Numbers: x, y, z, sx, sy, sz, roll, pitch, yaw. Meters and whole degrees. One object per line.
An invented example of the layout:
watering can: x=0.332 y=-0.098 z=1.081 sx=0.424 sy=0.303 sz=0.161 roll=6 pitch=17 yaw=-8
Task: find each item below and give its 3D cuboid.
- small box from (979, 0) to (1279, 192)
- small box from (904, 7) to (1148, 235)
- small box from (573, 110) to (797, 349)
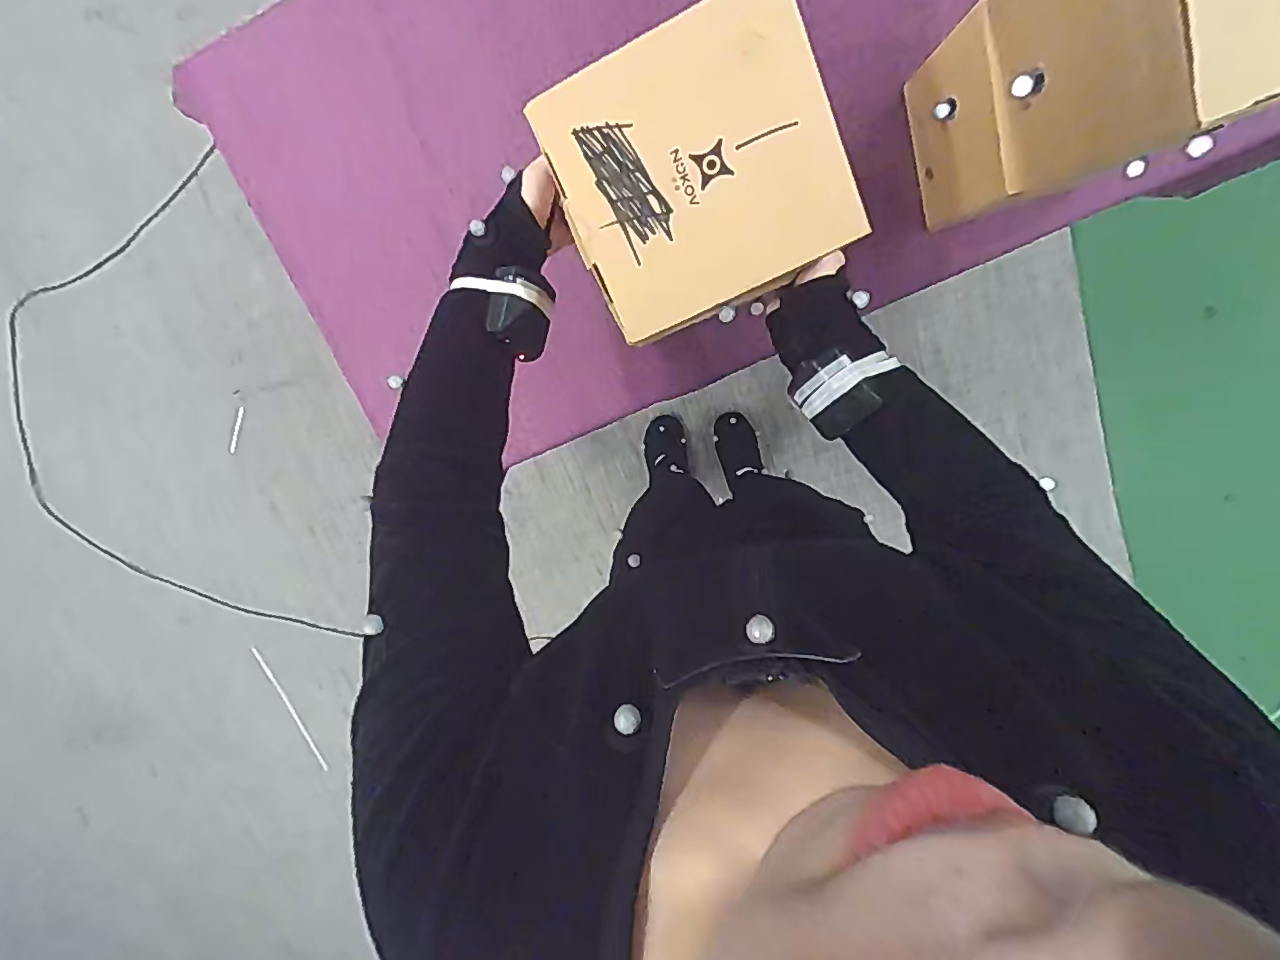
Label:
small box: x=0.388 y=-0.337 z=0.395 sx=0.168 sy=0.176 sz=0.179 roll=-19 pitch=102 yaw=7
small box: x=0.394 y=-0.372 z=0.555 sx=0.179 sy=0.176 sz=0.168 roll=-16 pitch=102 yaw=6
small box: x=0.048 y=-0.253 z=0.590 sx=0.179 sy=0.176 sz=0.168 roll=-20 pitch=102 yaw=9
